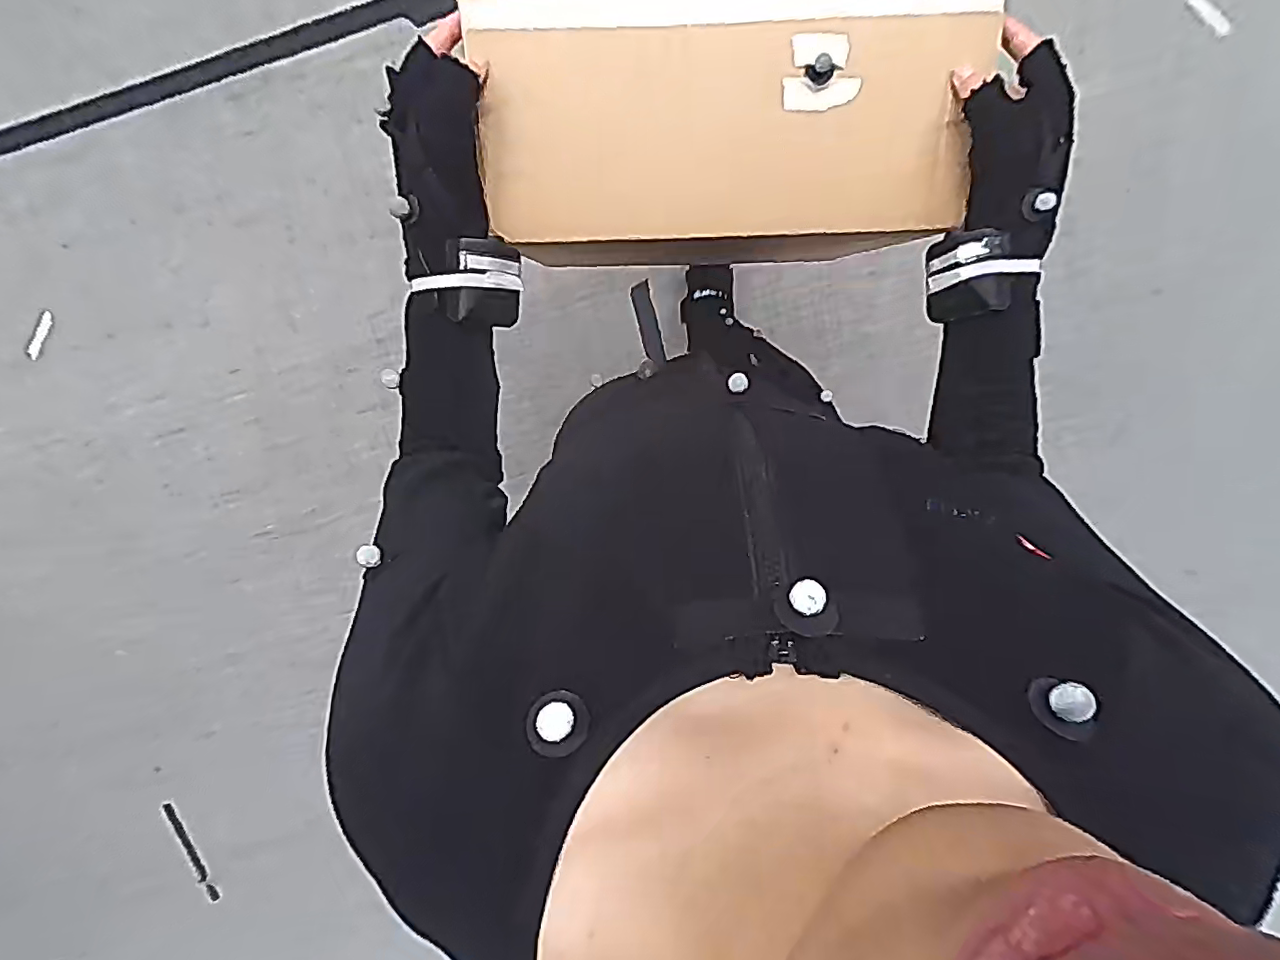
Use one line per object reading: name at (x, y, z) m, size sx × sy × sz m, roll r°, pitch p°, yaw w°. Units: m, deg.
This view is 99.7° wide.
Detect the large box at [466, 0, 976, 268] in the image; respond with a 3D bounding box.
large box at (0.059, -0.407, 0.560) m, size 0.408 × 0.320 × 0.320 m, roll -3°, pitch 107°, yaw -1°

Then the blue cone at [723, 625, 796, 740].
blue cone at (0.346, 0.560, 1.446) m, size 0.193 × 0.380 × 0.192 m, roll 5°, pitch 103°, yaw -2°
